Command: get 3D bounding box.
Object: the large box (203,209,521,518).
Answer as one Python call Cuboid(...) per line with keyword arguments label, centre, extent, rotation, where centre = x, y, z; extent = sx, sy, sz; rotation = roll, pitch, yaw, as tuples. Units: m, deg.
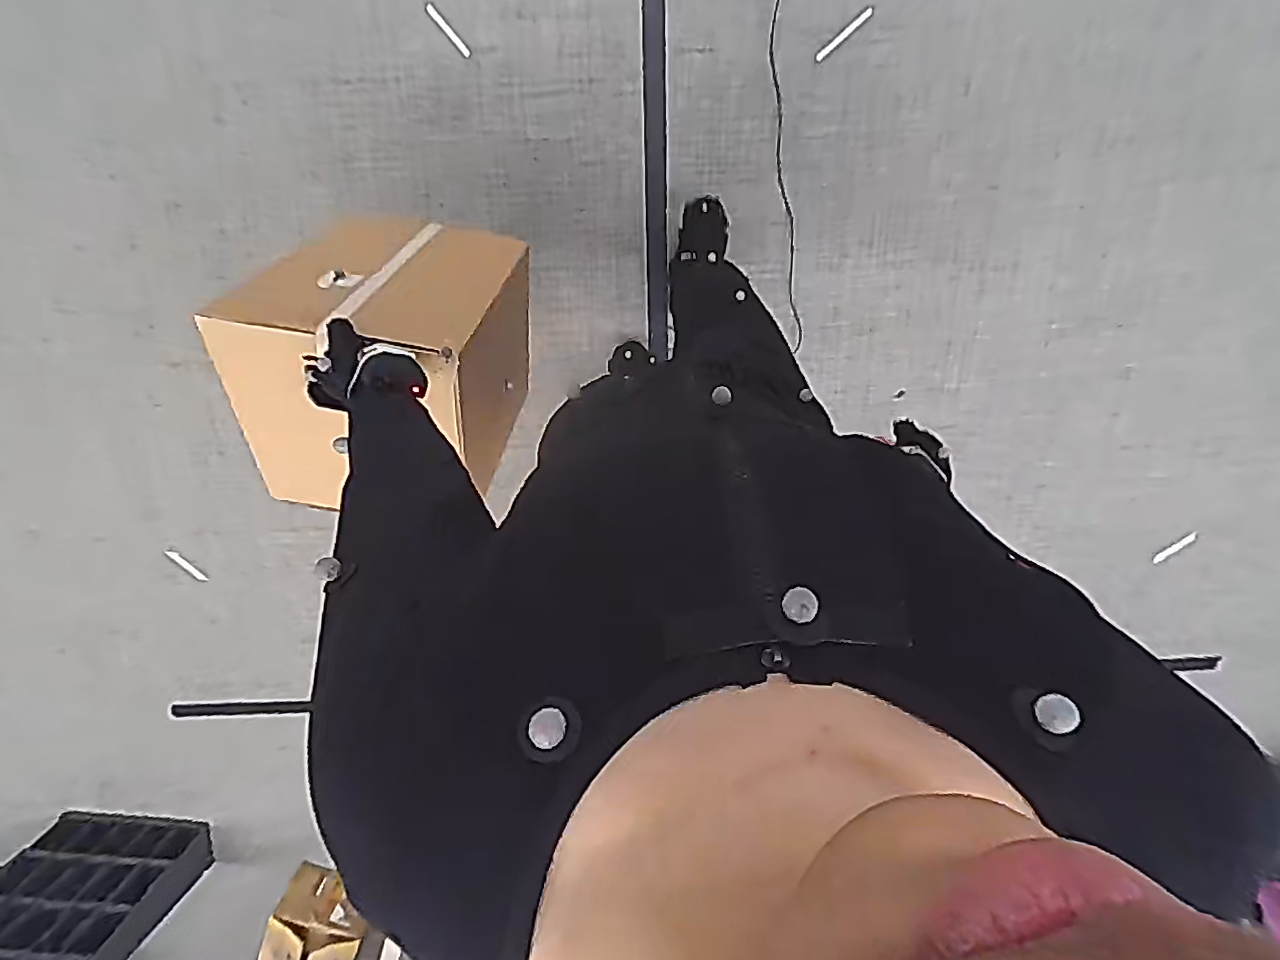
Cuboid(label="large box", centre=(-0.393, -0.201, 0.903), extent=(0.320, 0.408, 0.320), rotation=(9, 134, -3))
